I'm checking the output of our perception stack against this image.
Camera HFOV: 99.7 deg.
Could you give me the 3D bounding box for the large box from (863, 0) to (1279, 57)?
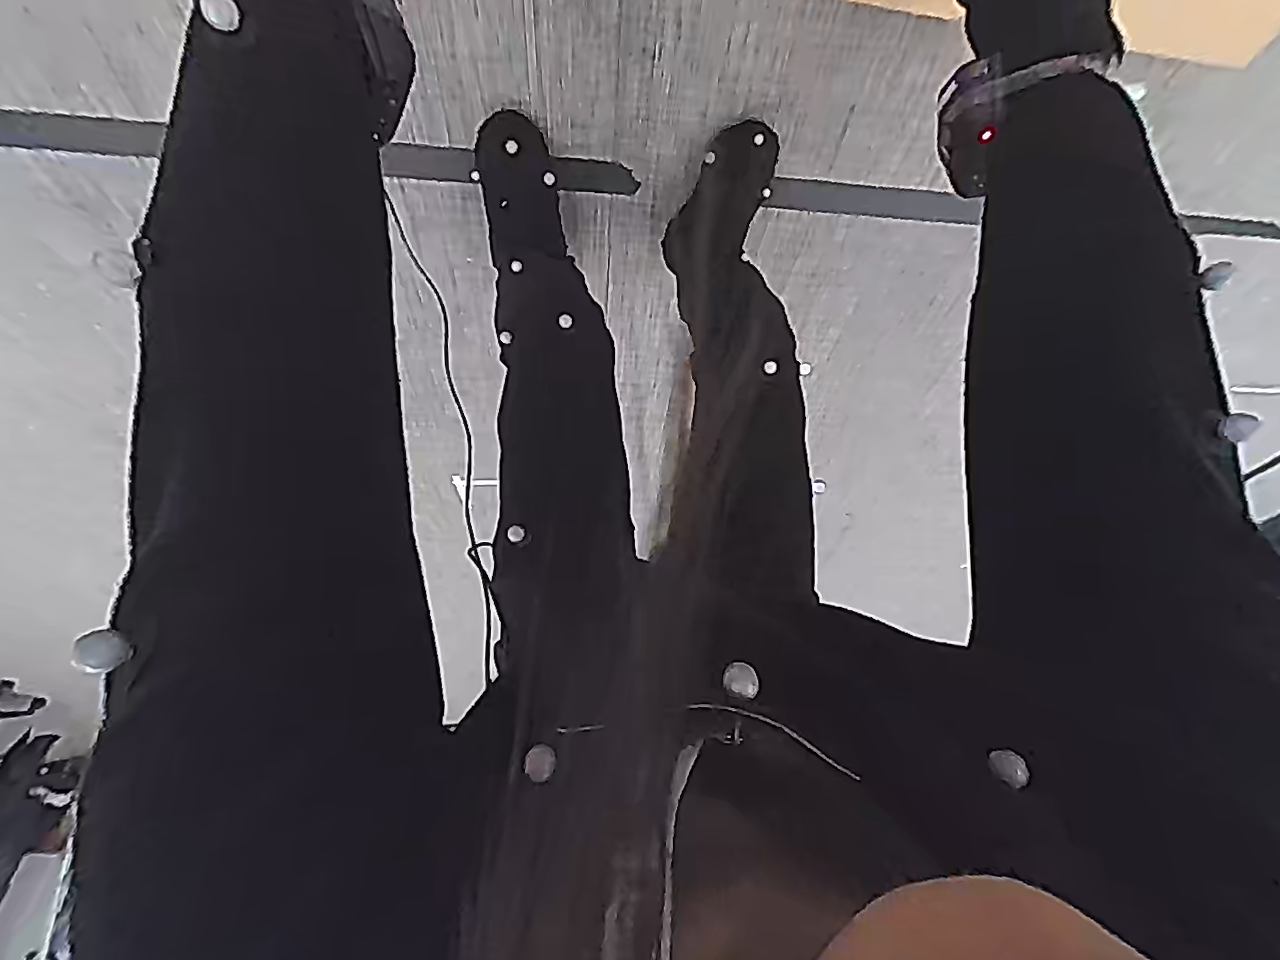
[{"bbox_3d":[0.360,-0.598,0.426,0.408,0.320,0.320,2,146,-9],"label":"large box"}]
